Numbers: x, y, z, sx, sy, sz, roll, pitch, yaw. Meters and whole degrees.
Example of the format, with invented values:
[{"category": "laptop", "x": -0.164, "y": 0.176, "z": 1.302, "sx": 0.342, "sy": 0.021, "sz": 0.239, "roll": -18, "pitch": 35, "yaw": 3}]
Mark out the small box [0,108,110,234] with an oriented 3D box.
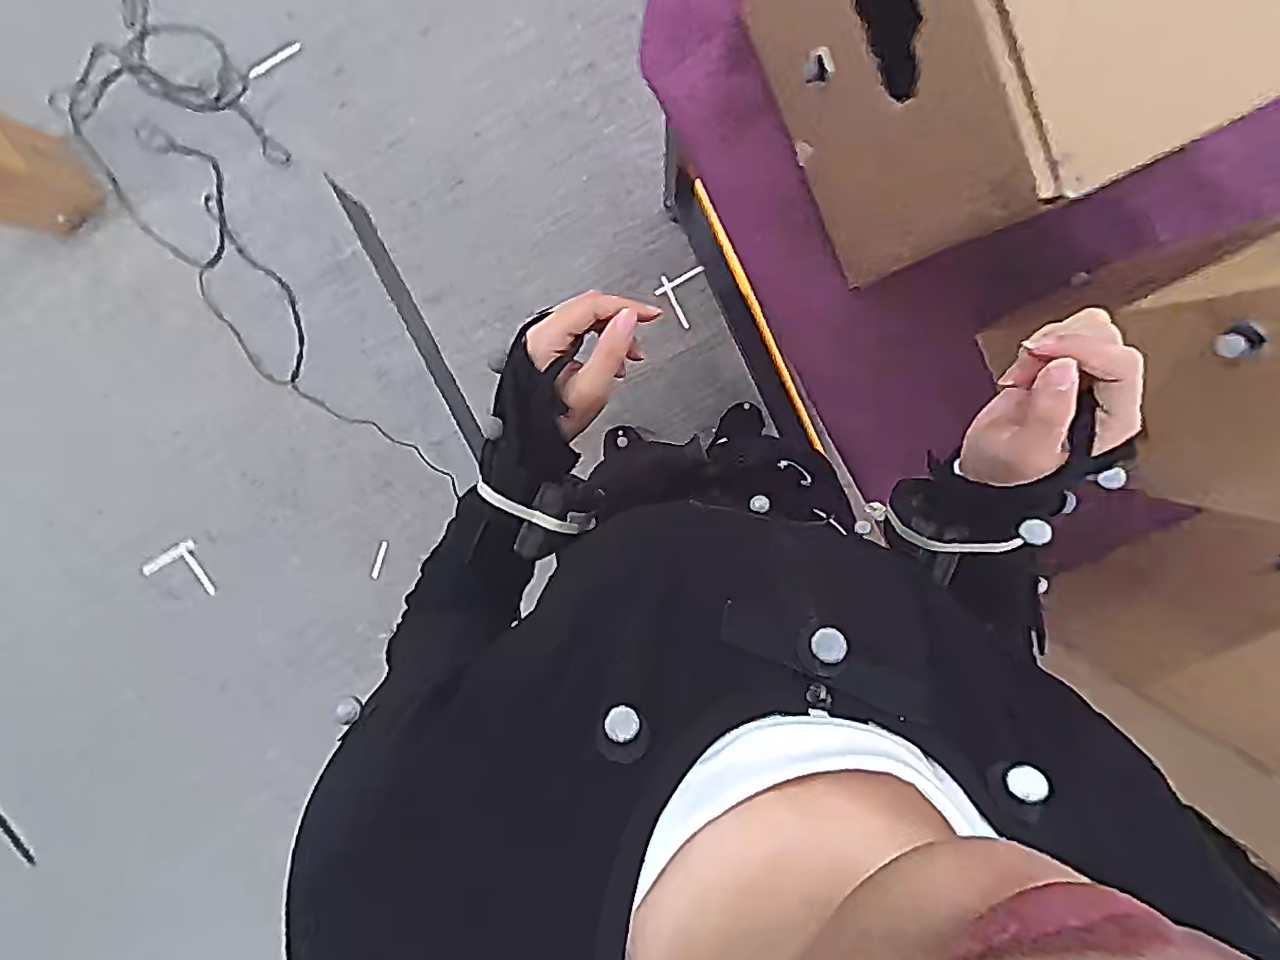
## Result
[{"category": "small box", "x": -1.414, "y": -0.707, "z": 1.252, "sx": 0.168, "sy": 0.176, "sz": 0.179, "roll": -33, "pitch": 97, "yaw": 8}]
